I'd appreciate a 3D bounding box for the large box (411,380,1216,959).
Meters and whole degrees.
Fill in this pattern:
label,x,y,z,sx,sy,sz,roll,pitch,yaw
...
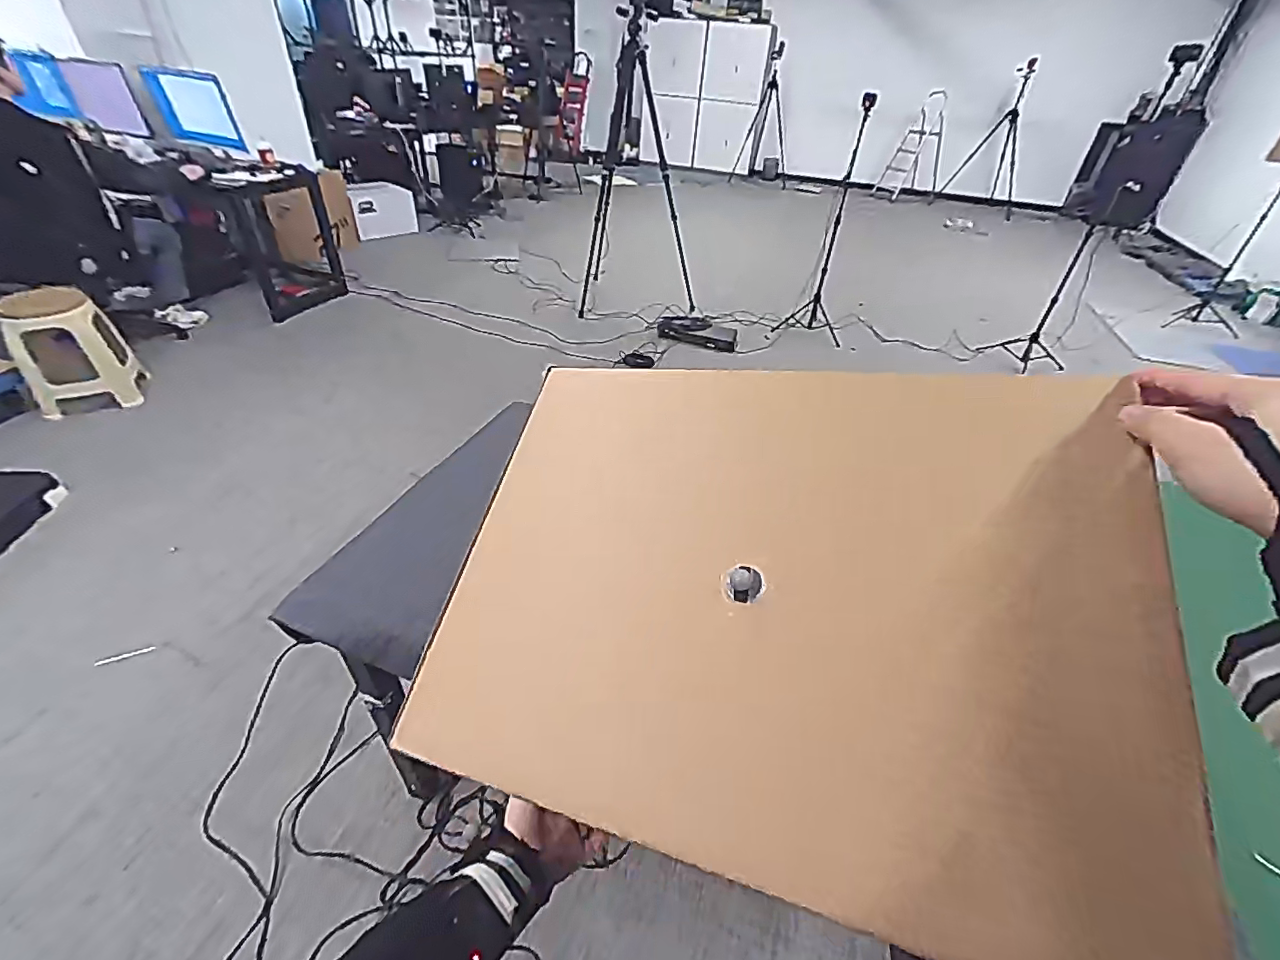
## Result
label,x,y,z,sx,sy,sz,roll,pitch,yaw
large box,0.111,0.134,0.454,0.408,0.320,0.320,5,62,21
